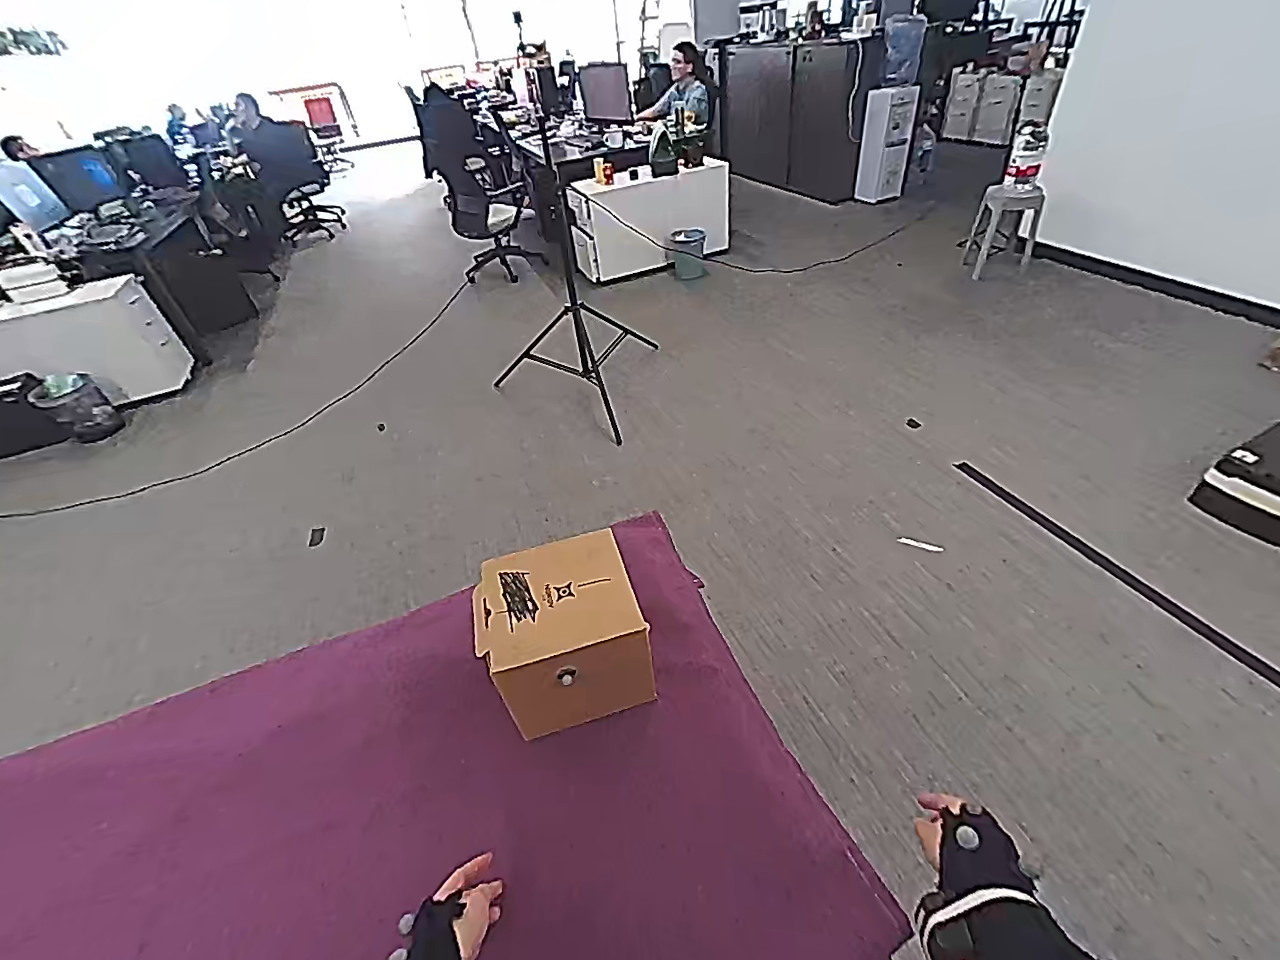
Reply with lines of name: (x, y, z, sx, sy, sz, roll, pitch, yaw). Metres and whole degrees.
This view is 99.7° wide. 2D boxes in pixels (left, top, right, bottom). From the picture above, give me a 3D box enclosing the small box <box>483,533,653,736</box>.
small box: (-0.091, 0.201, 0.701, 0.179, 0.176, 0.168, -14, 42, -9)
